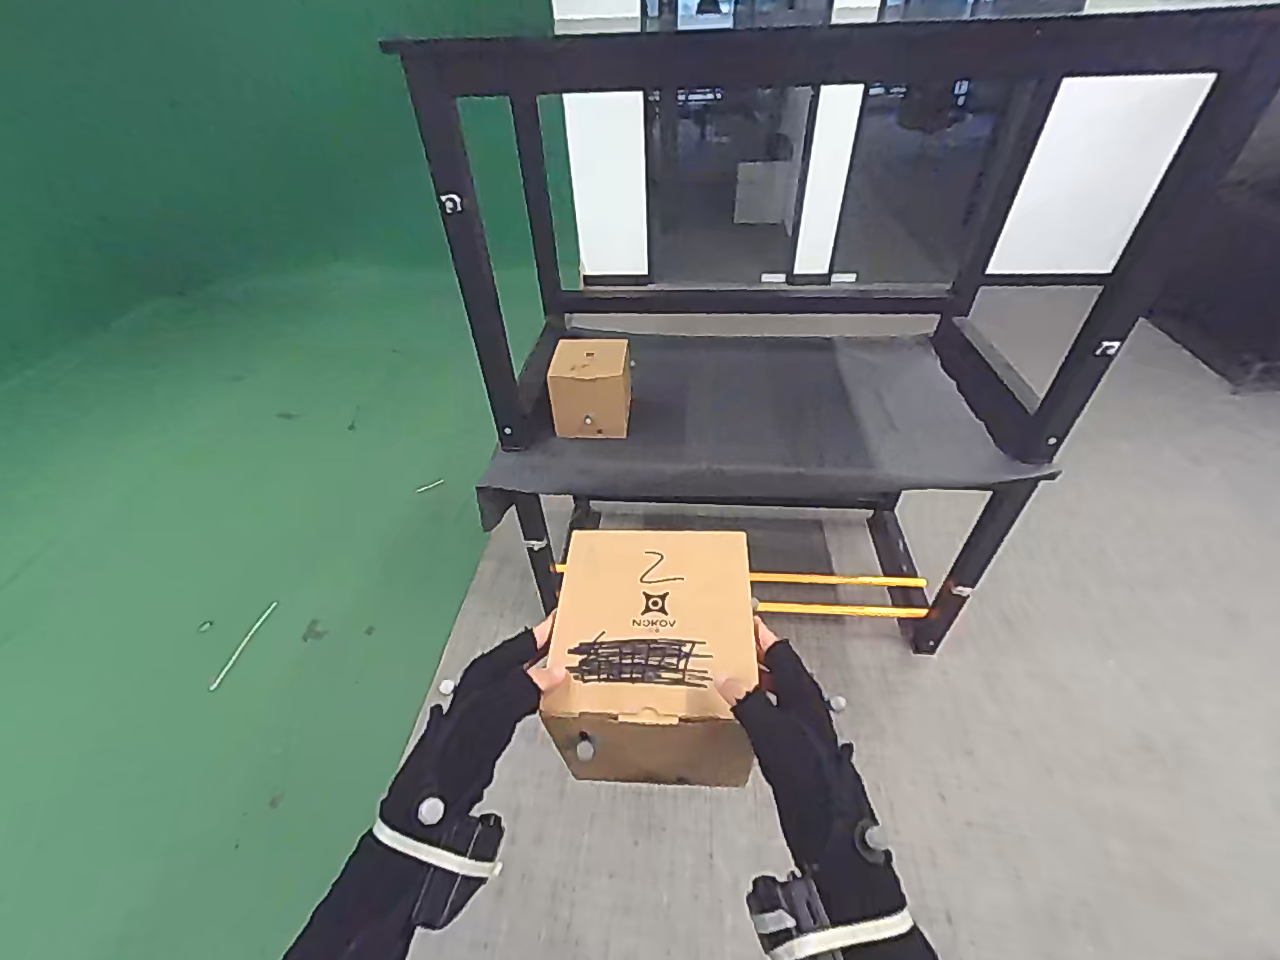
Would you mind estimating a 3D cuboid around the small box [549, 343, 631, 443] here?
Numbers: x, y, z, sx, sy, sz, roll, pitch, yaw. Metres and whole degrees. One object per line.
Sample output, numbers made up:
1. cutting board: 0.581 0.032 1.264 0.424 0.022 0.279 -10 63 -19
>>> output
1. small box: -0.110 -0.207 1.275 0.168 0.176 0.179 0 41 4
